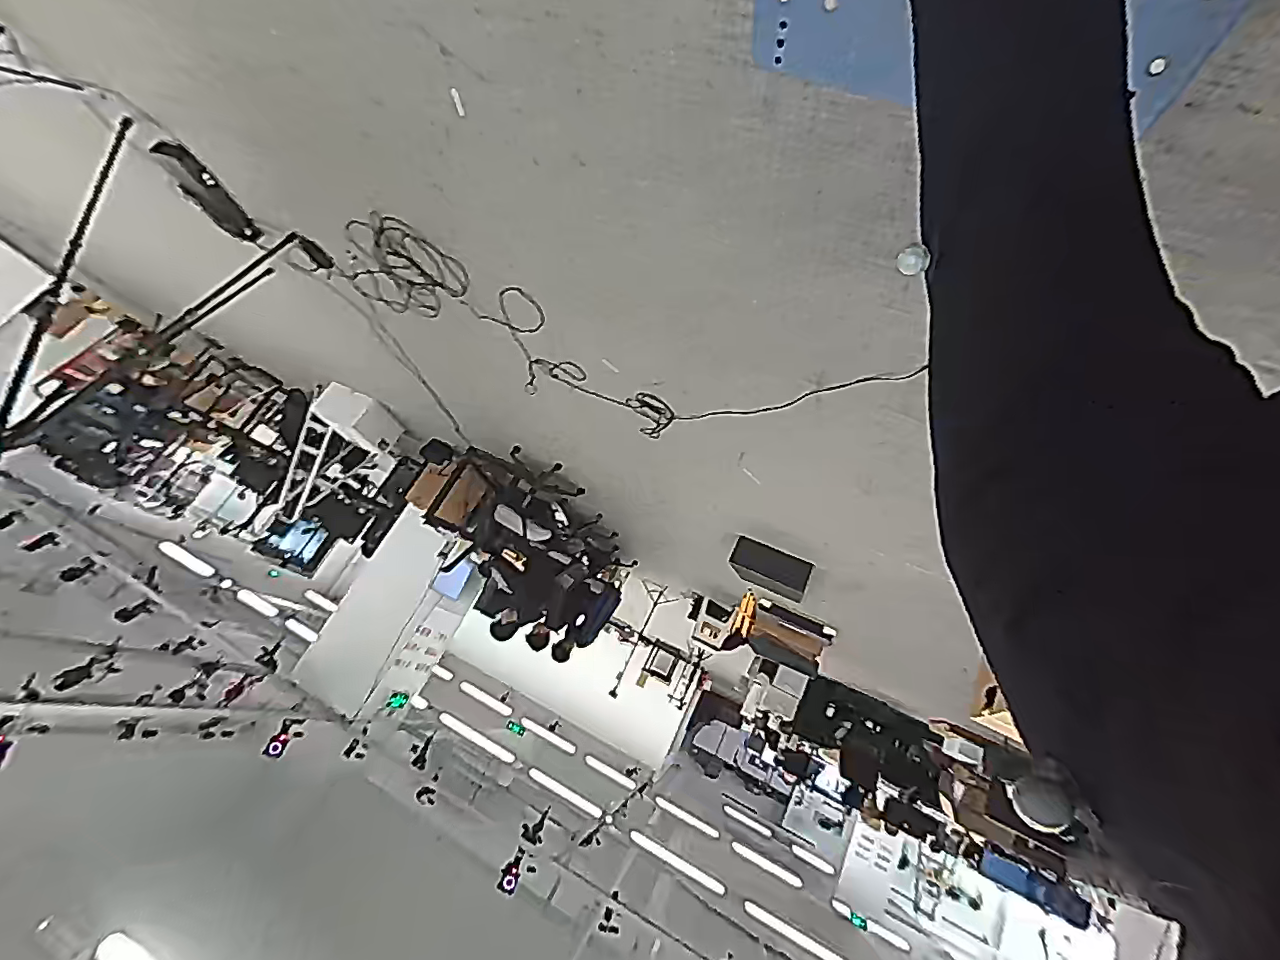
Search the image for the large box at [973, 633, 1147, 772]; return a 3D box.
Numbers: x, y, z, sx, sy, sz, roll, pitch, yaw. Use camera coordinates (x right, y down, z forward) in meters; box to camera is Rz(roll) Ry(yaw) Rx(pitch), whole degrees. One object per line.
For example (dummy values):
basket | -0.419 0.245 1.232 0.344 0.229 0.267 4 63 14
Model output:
large box | 1.536 0.821 2.004 0.408 0.320 0.320 22 156 16
